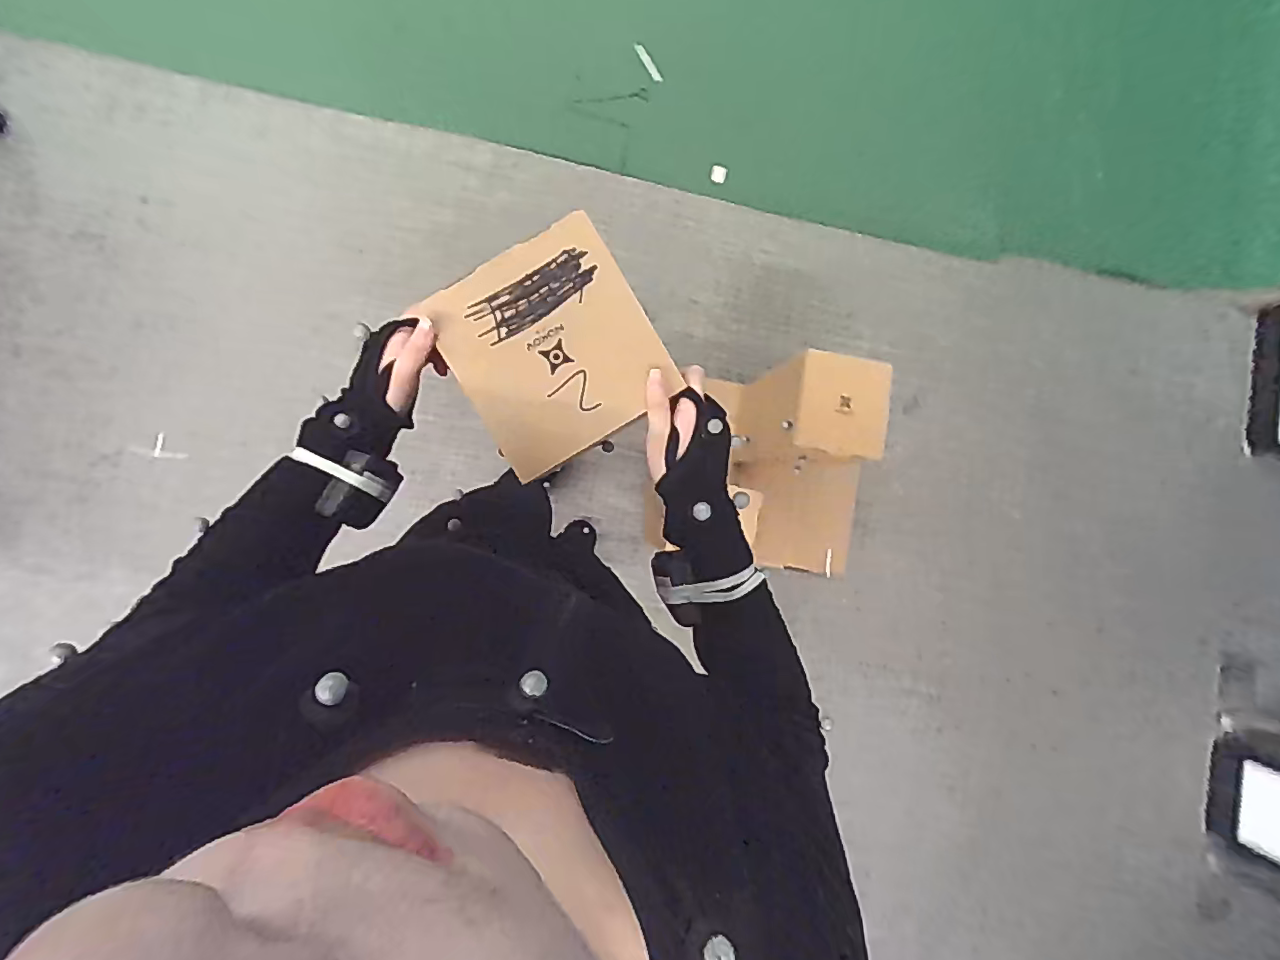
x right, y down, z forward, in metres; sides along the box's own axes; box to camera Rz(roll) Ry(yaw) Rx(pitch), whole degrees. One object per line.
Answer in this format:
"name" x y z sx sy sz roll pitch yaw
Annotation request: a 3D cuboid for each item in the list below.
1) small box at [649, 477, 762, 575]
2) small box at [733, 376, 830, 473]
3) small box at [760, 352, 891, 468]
"small box" 0.131 0.090 1.148 0.179 0.176 0.168 15 88 -8
"small box" 0.312 -0.112 1.180 0.168 0.176 0.179 8 87 -9
"small box" 0.340 -0.122 1.020 0.168 0.176 0.179 9 88 -9
